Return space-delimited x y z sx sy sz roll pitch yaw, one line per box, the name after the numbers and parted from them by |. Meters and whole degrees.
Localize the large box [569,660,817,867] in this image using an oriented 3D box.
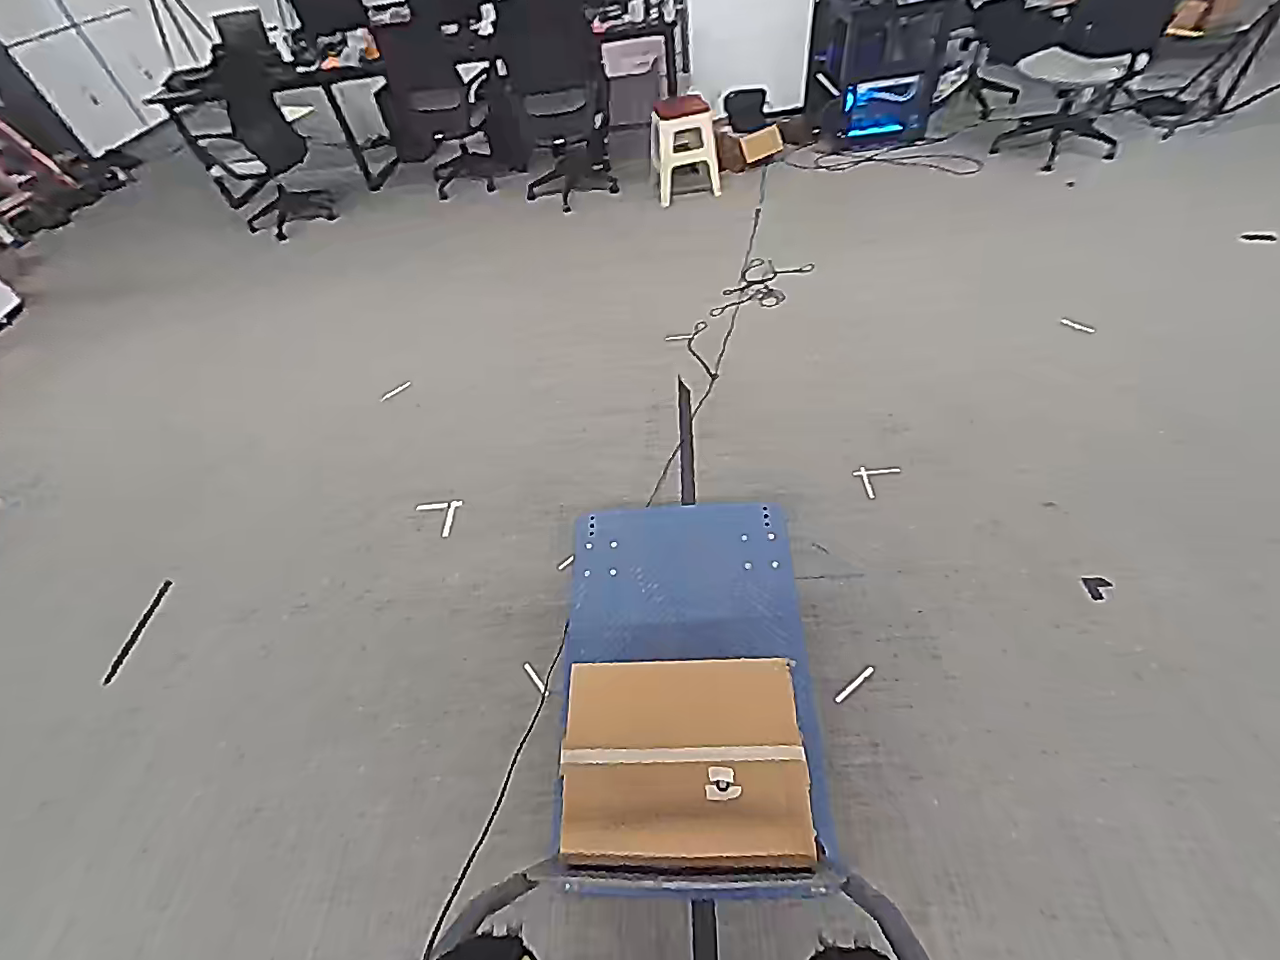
0.092 0.557 1.058 0.408 0.320 0.320 -3 57 5 | large box
